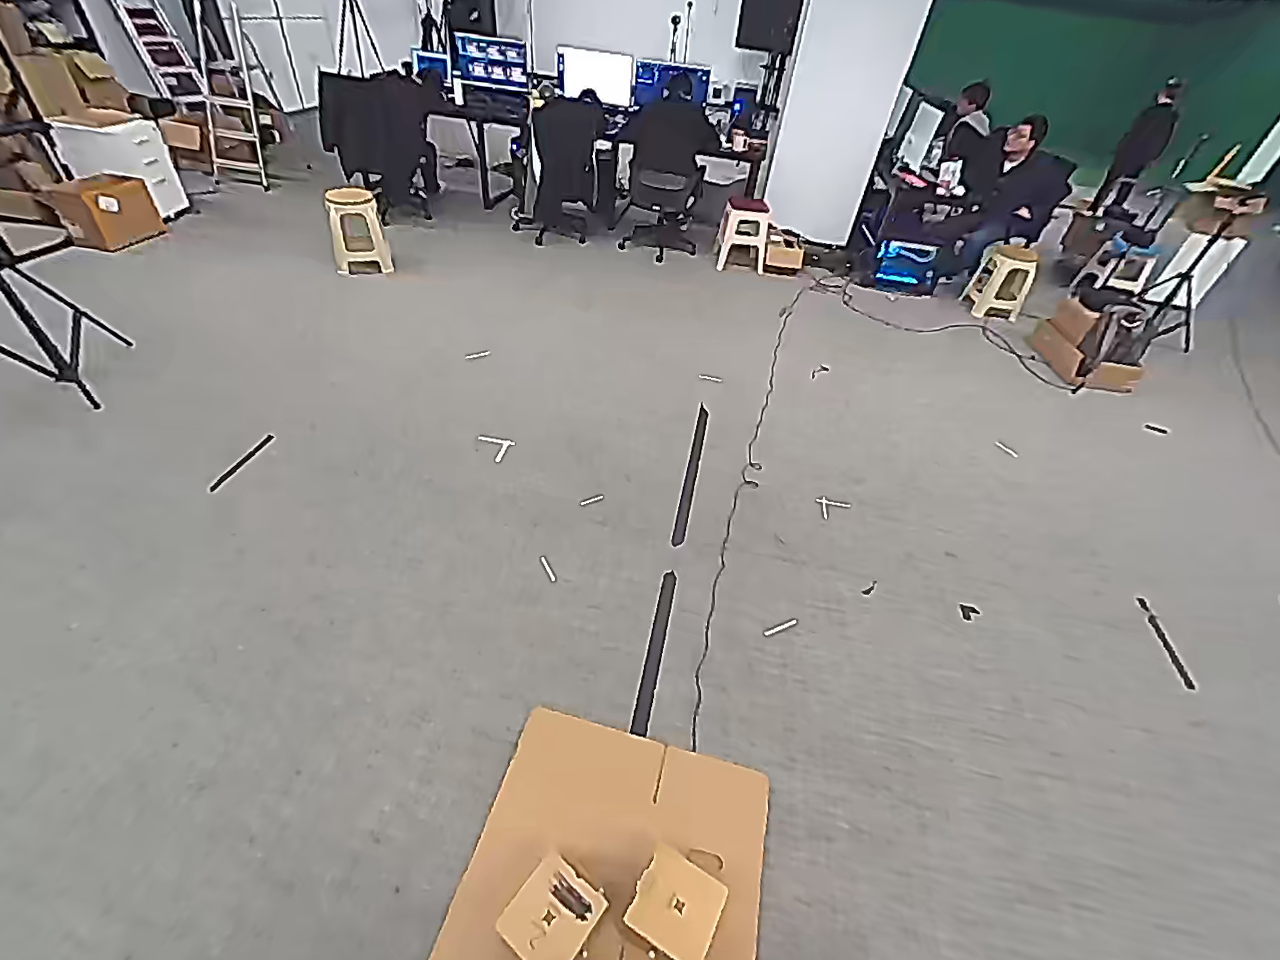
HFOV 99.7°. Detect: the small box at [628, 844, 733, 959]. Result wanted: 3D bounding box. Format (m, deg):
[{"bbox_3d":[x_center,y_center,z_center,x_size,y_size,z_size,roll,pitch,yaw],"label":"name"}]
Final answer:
[{"bbox_3d":[0.087,0.964,1.209,0.179,0.176,0.168,22,46,20],"label":"small box"}]
